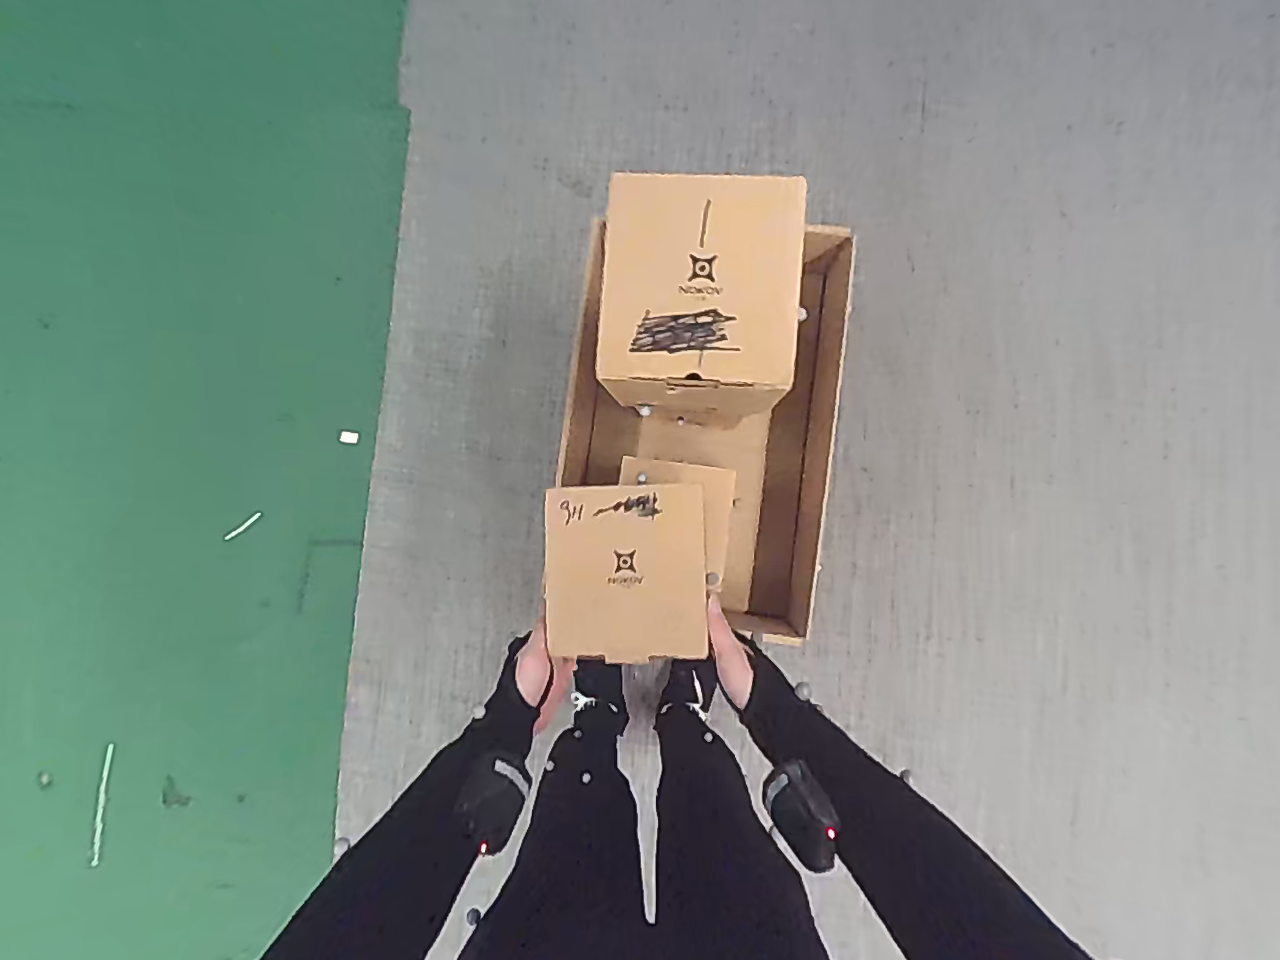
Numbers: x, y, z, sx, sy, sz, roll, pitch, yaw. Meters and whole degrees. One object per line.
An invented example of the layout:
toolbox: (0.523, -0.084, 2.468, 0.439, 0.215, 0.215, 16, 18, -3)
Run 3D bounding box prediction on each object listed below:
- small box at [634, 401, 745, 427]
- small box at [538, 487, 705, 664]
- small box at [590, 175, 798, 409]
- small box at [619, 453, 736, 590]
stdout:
small box: (0.084, -0.186, 0.859, 0.168, 0.176, 0.179, 6, 90, 5)
small box: (-0.012, 0.101, 0.624, 0.168, 0.176, 0.179, -3, 85, 7)
small box: (0.052, -0.168, 0.531, 0.168, 0.176, 0.179, 4, 89, 5)
small box: (0.051, 0.064, 0.841, 0.168, 0.176, 0.179, 7, 86, 6)
